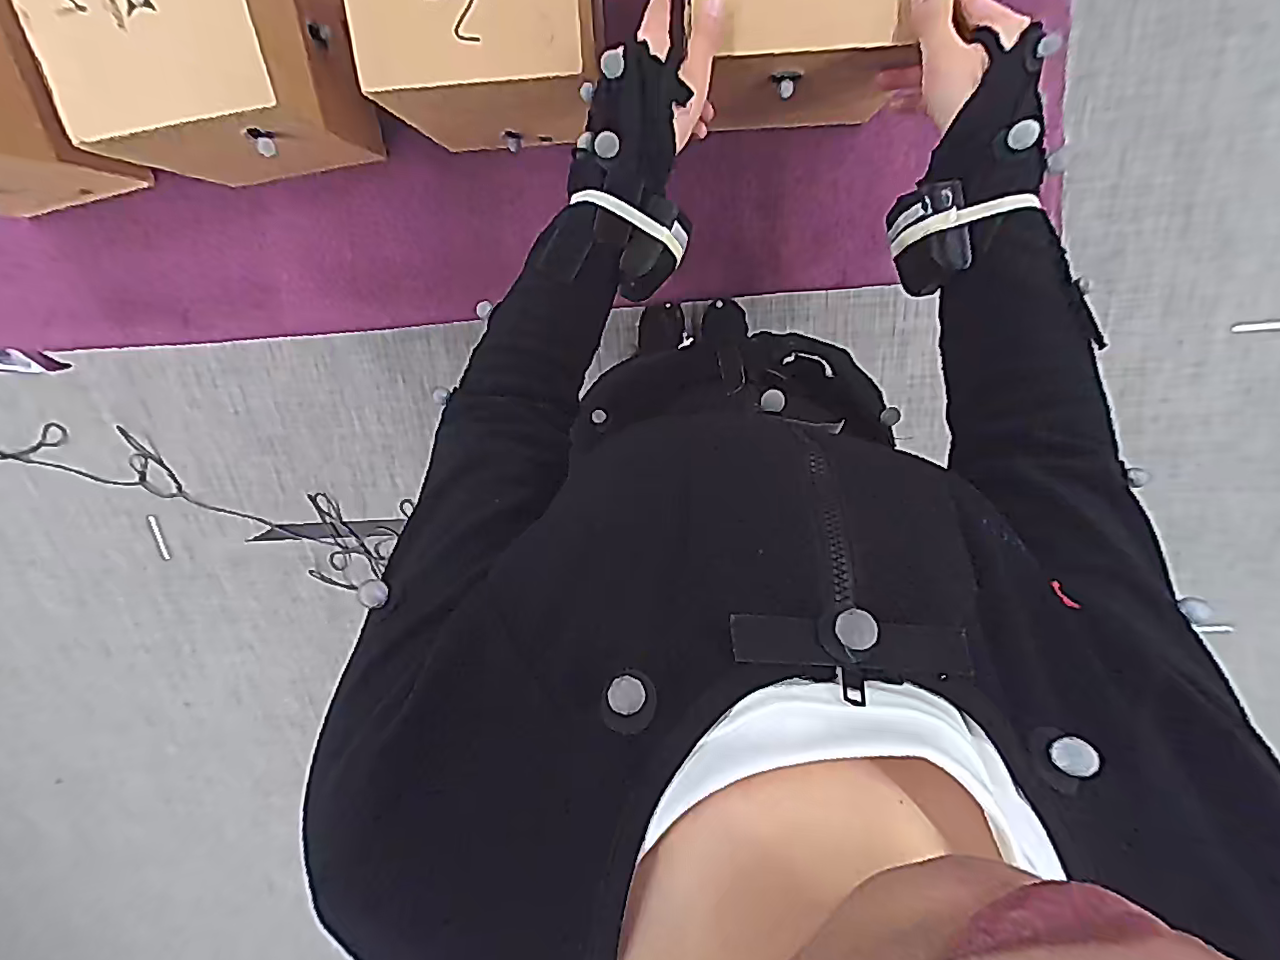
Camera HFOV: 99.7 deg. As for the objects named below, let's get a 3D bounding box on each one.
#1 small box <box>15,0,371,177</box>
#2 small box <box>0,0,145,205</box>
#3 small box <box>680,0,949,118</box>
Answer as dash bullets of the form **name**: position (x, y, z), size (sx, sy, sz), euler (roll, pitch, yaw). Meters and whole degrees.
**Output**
- **small box**: position (-0.357, -0.374, 0.457), size (0.179, 0.176, 0.168), euler (-7, 108, 6)
- **small box**: position (-0.612, -0.358, 0.481), size (0.168, 0.176, 0.179), euler (-9, 108, 7)
- **small box**: position (0.120, -0.399, 0.415), size (0.179, 0.176, 0.168), euler (0, 108, 2)
